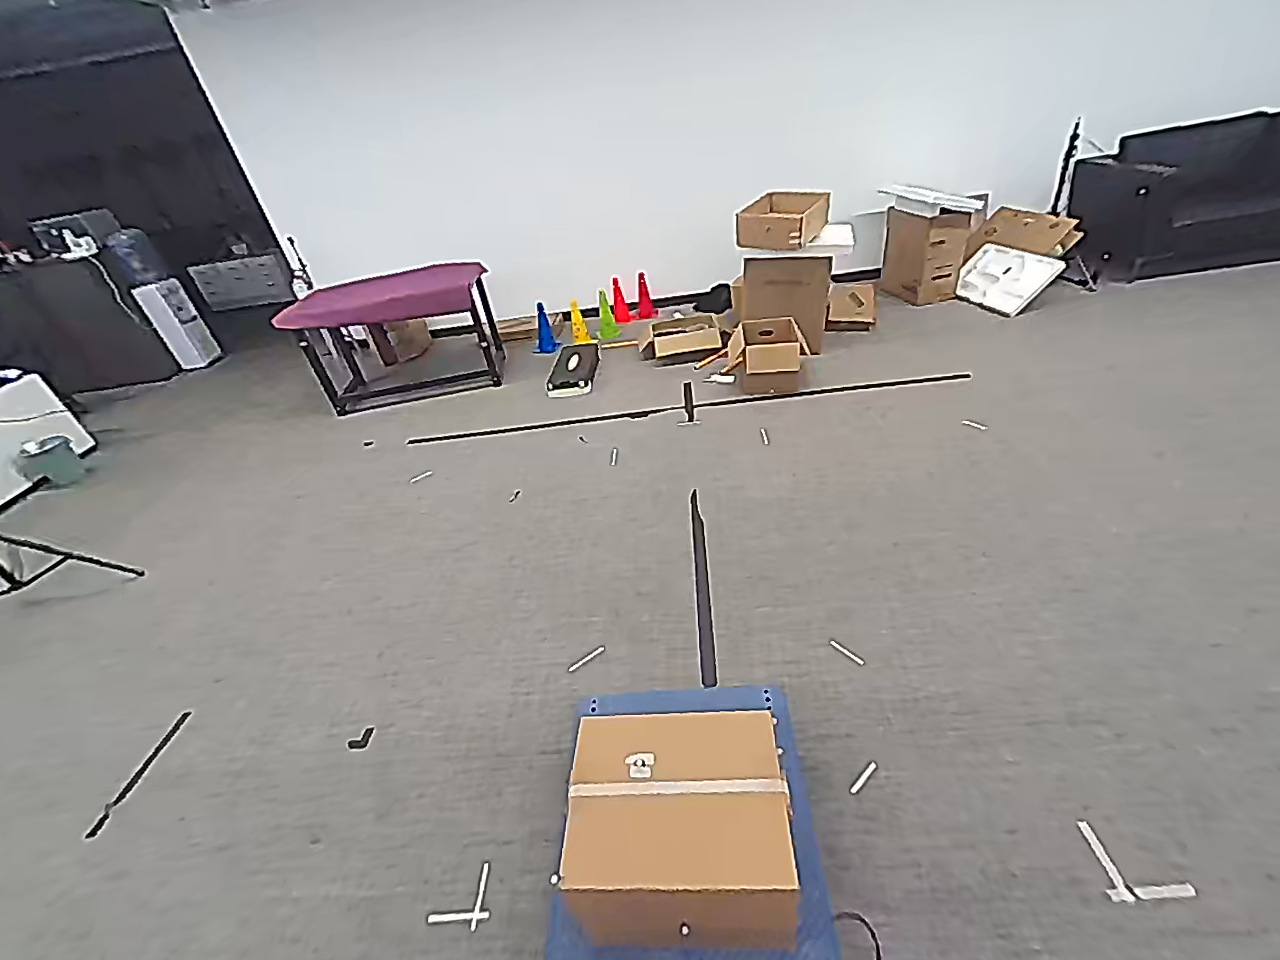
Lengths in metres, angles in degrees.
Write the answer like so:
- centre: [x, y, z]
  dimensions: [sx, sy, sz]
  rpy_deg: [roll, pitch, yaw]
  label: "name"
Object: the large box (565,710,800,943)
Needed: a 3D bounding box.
- centre: [0.094, 0.713, 1.114]
  dimensions: [0.408, 0.320, 0.320]
  rpy_deg: [-7, 34, 7]
  label: "large box"
